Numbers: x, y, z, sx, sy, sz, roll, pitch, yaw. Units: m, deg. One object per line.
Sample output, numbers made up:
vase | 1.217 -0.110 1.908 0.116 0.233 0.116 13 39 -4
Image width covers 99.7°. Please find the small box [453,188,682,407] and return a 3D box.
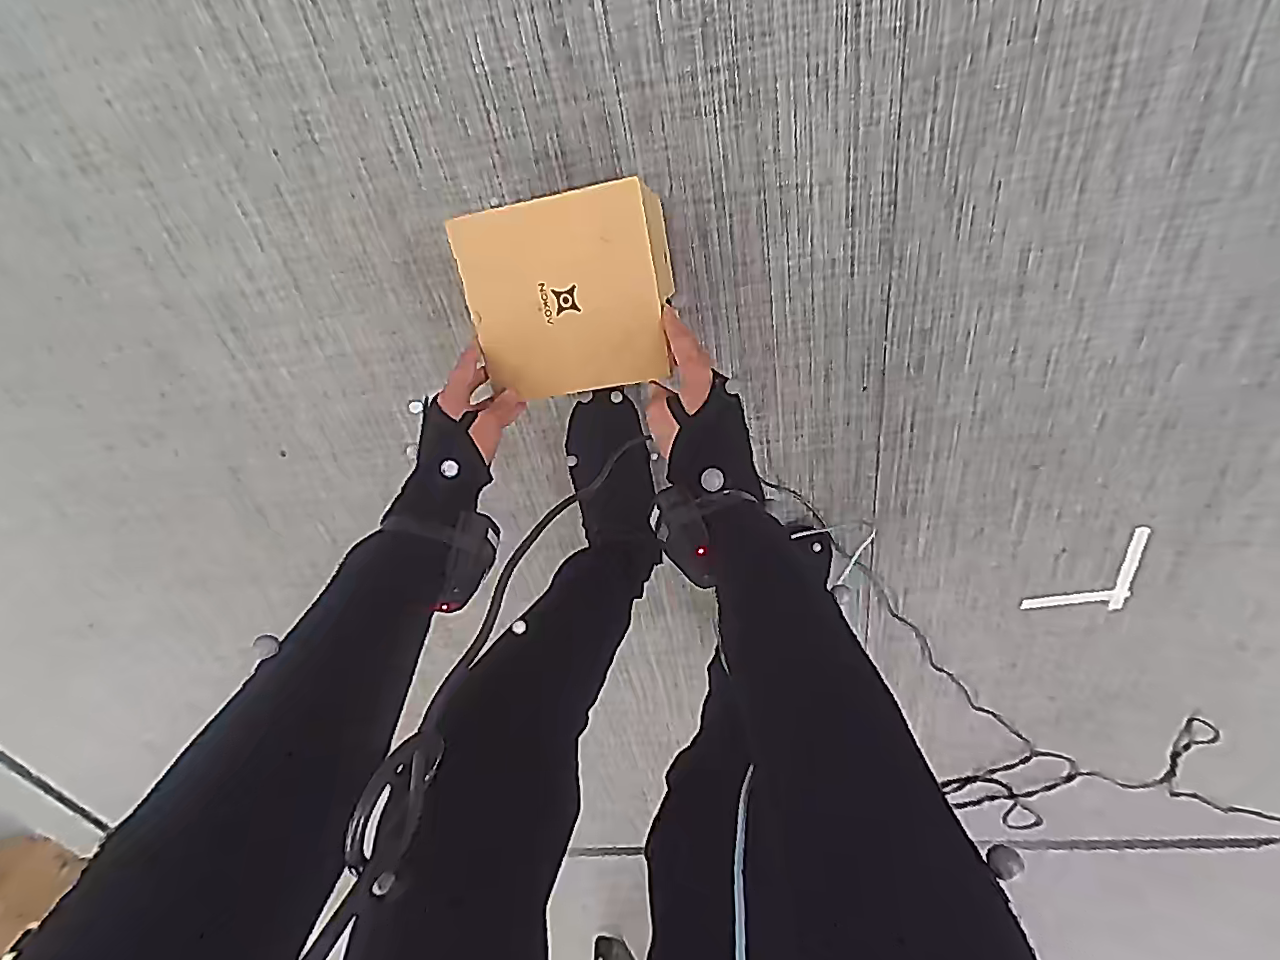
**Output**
small box | -0.054 -0.184 0.553 0.179 0.176 0.168 -6 111 13
